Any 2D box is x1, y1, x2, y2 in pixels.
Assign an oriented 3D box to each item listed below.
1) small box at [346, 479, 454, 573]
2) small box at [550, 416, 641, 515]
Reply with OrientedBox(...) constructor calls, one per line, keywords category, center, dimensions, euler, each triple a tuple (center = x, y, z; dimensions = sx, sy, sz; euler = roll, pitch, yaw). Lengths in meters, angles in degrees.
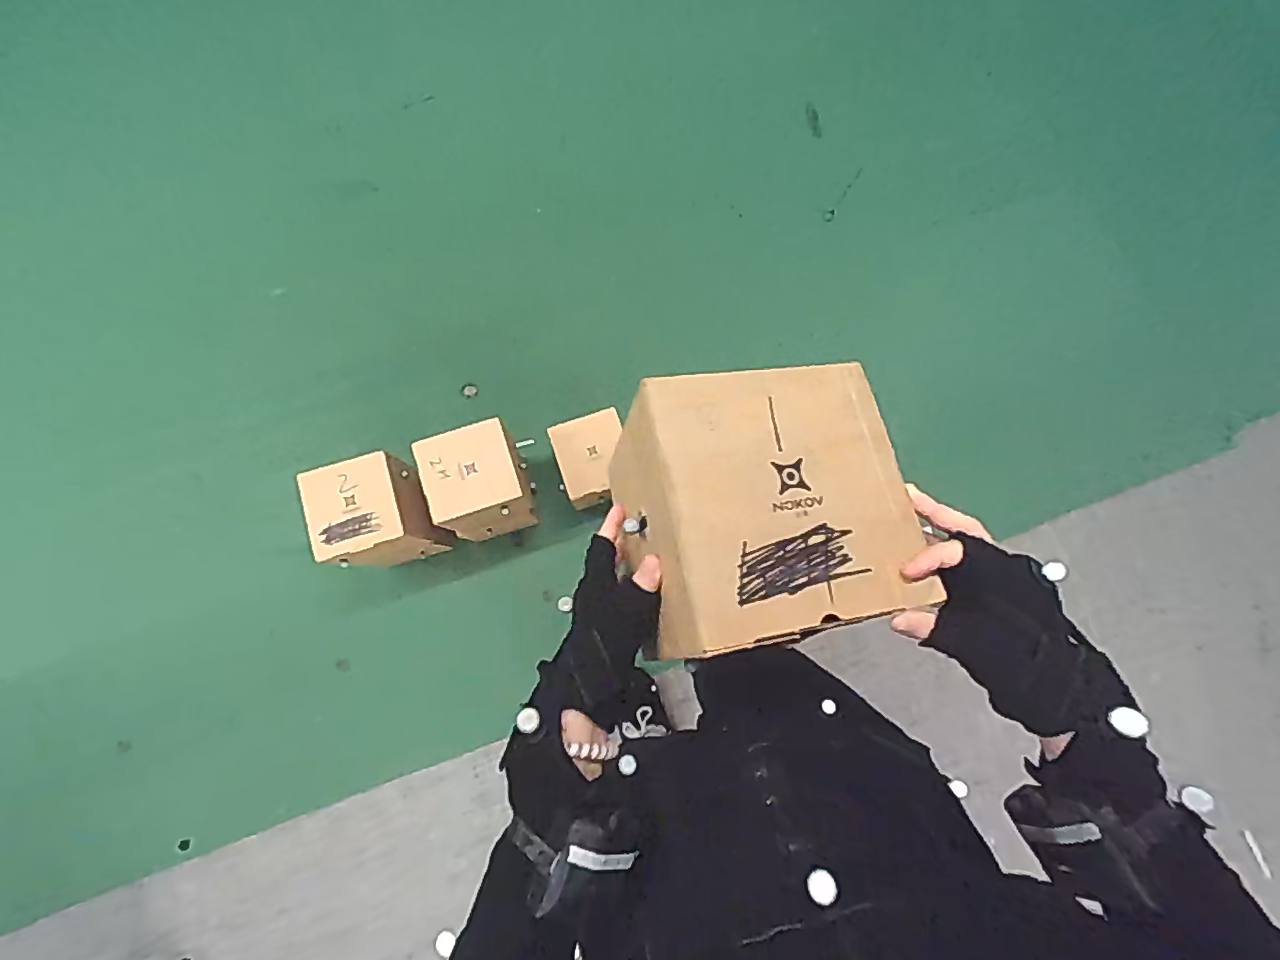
OrientedBox(category="small box", center=(-0.549, 0.111, 1.258), dimensions=(0.168, 0.176, 0.179), euler=(-15, 81, -5))
OrientedBox(category="small box", center=(-0.107, -0.030, 1.303), dimensions=(0.168, 0.176, 0.179), euler=(-19, 81, -6))
